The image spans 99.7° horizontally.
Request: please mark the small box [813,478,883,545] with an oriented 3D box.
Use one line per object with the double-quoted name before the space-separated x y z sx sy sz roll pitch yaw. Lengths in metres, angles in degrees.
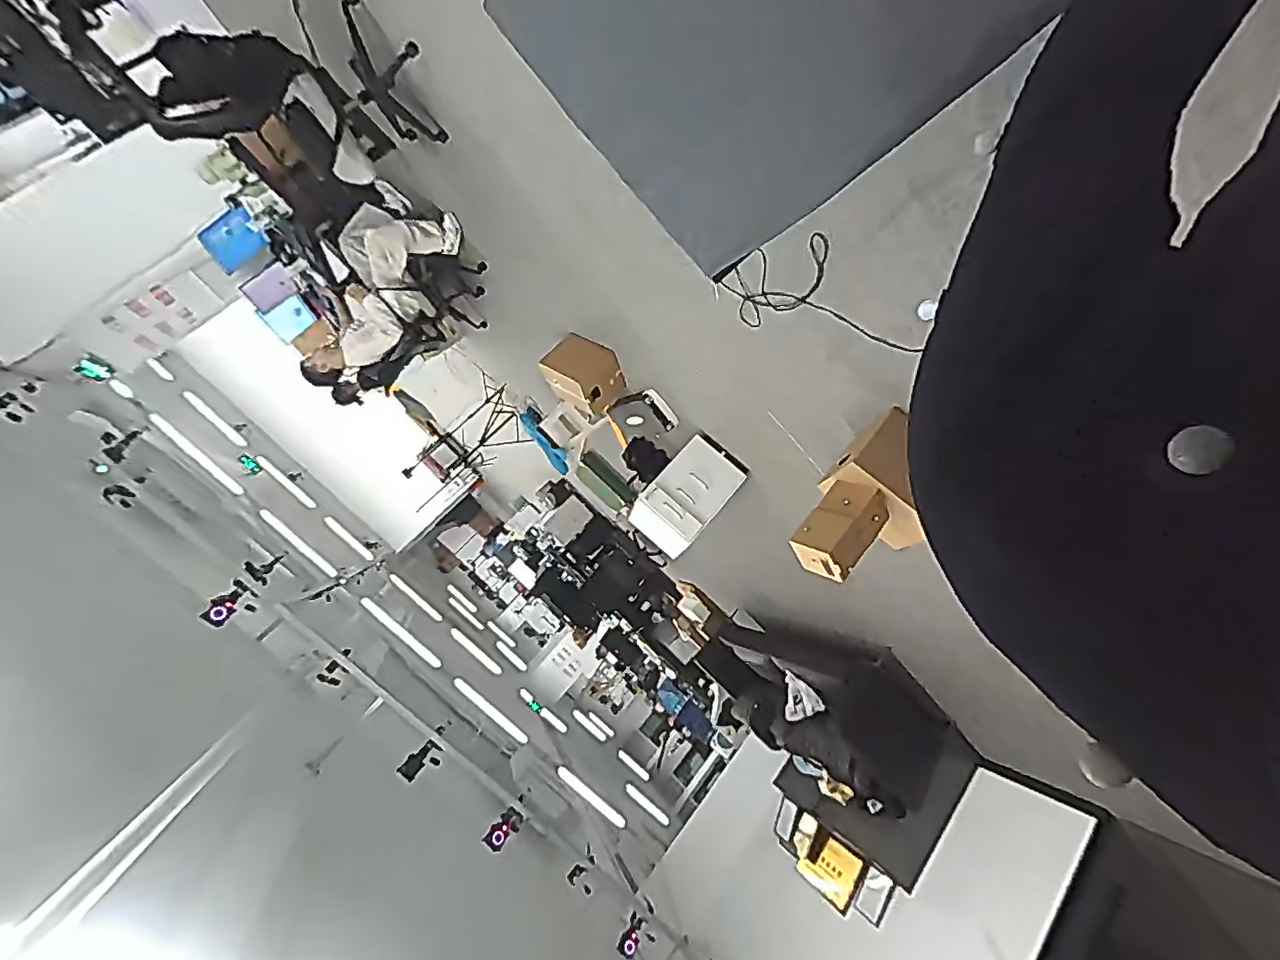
"small box" 0.788 0.112 2.029 0.179 0.176 0.168 15 147 52
